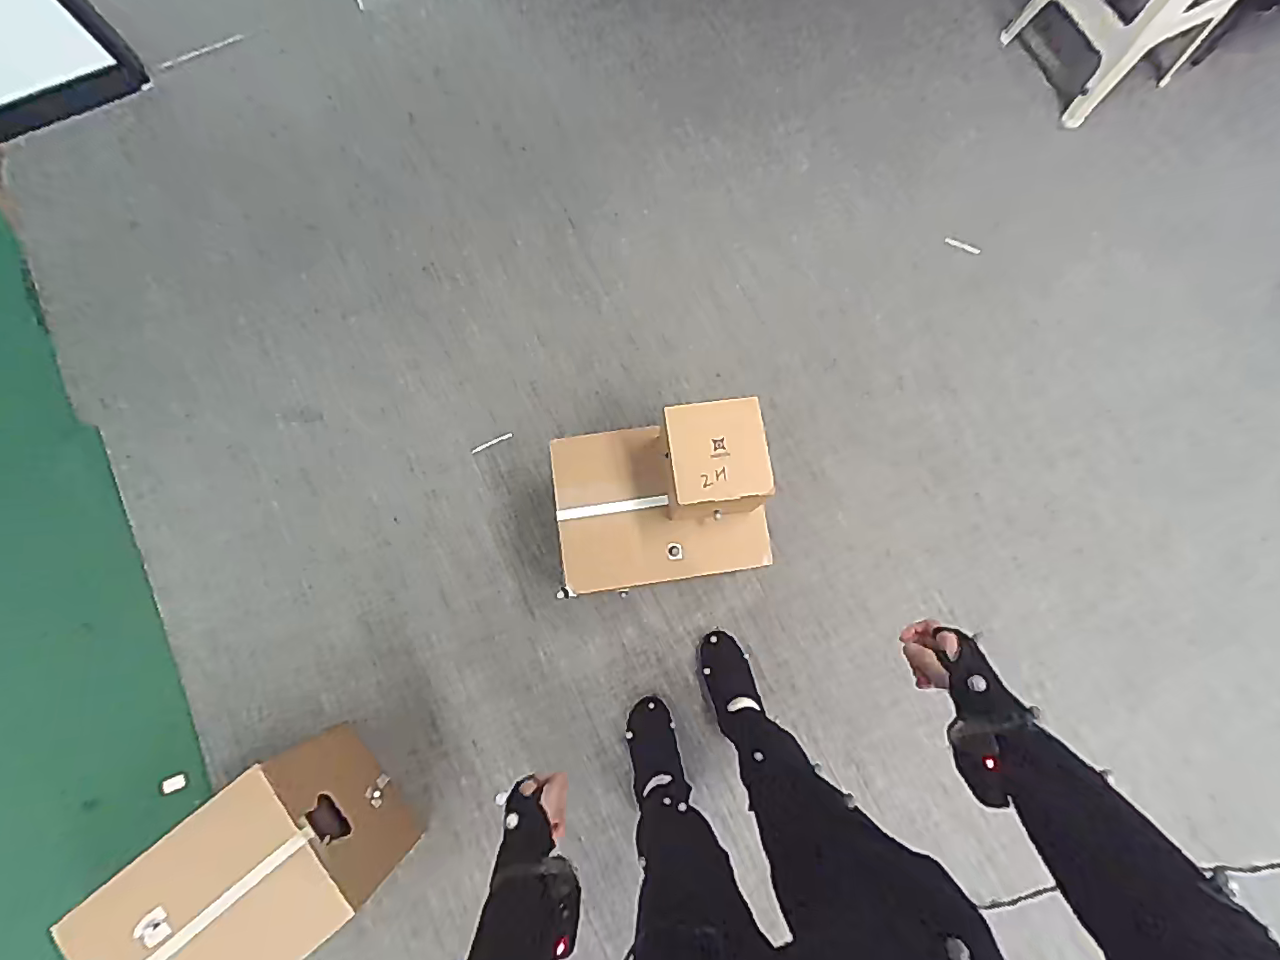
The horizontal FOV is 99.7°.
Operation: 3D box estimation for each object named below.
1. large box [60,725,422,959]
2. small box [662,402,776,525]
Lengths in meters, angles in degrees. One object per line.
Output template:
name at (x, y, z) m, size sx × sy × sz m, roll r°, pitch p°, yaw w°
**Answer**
large box at (-0.722, 0.767, 1.050) m, size 0.408 × 0.320 × 0.320 m, roll -39°, pitch 81°, yaw -7°
small box at (0.133, -0.024, 0.983) m, size 0.168 × 0.176 × 0.179 m, roll -6°, pitch 77°, yaw -2°
